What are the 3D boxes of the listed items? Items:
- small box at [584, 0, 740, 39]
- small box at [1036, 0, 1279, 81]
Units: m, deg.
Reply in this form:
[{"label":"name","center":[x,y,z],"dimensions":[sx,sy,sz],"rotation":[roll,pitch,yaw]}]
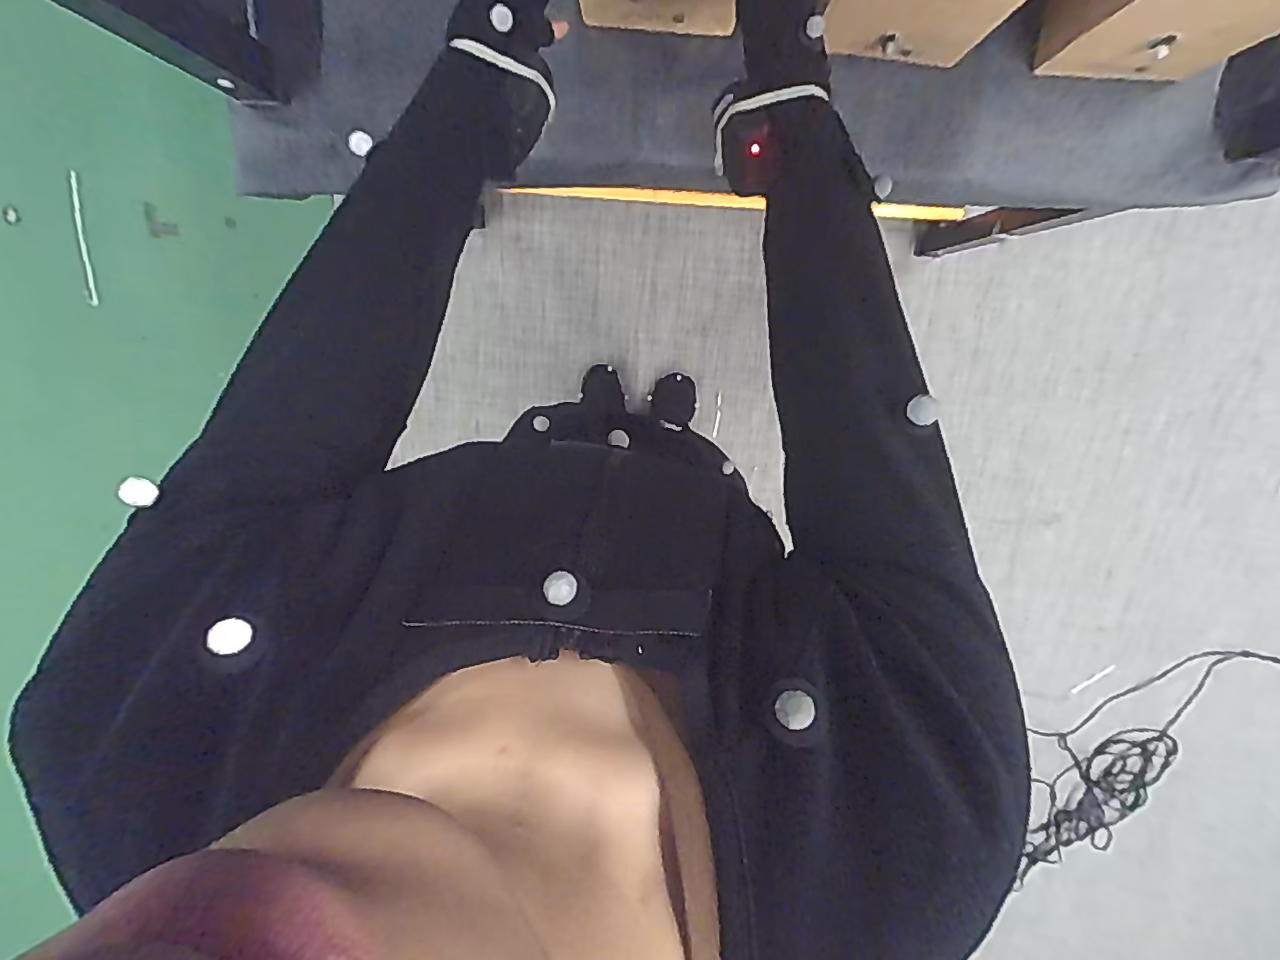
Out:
[{"label":"small box","center":[0.025,-0.557,0.508],"dimensions":[0.168,0.176,0.179],"rotation":[5,106,0]},{"label":"small box","center":[0.517,-0.506,0.504],"dimensions":[0.168,0.176,0.179],"rotation":[3,105,1]}]
